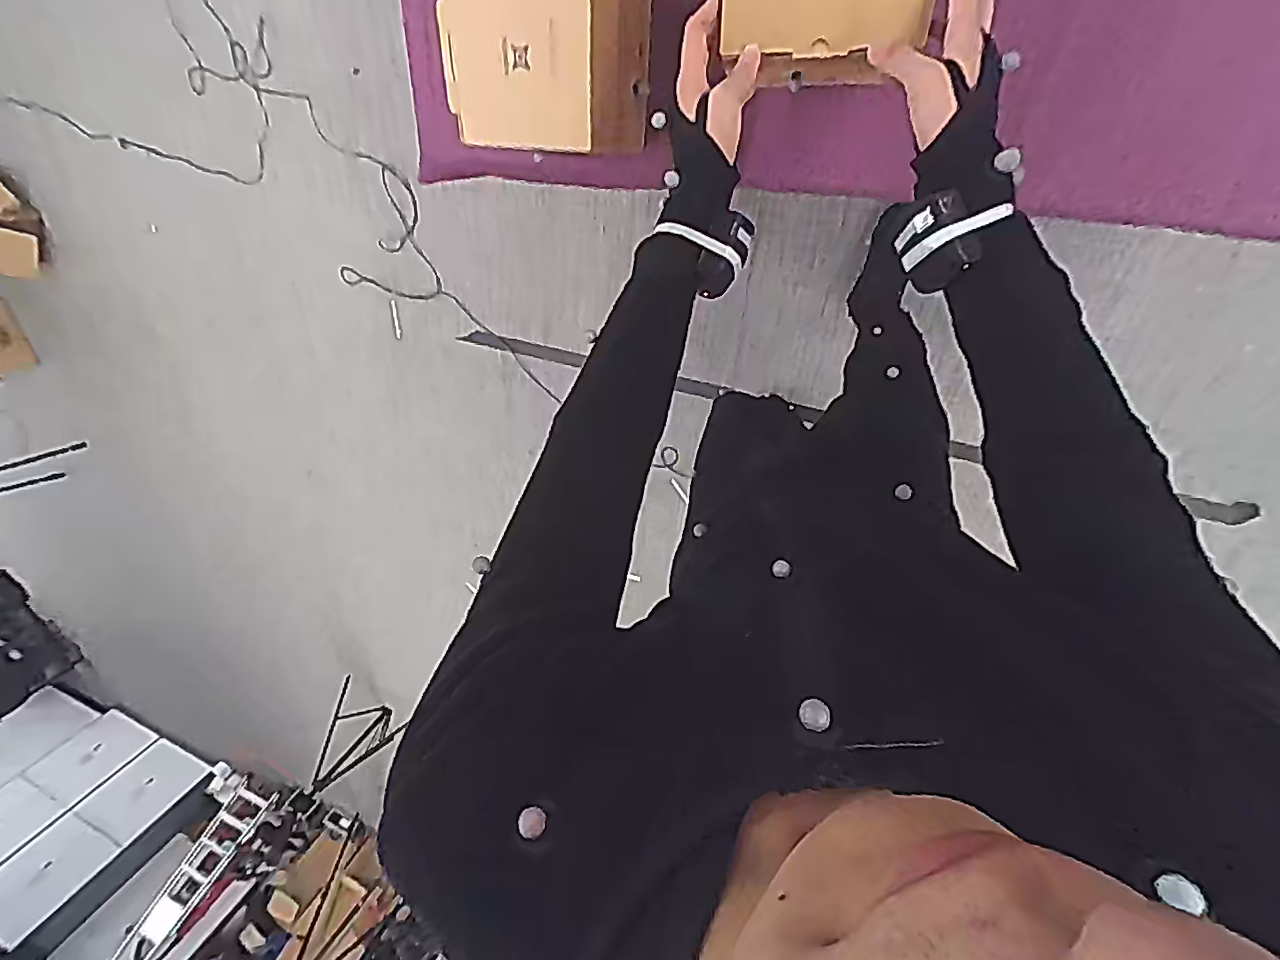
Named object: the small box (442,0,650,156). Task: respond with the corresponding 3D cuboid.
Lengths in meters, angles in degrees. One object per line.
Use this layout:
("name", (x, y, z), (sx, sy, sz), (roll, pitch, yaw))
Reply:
("small box", (-0.103, -0.483, 0.636), (0.179, 0.176, 0.168), (14, 124, 16))
